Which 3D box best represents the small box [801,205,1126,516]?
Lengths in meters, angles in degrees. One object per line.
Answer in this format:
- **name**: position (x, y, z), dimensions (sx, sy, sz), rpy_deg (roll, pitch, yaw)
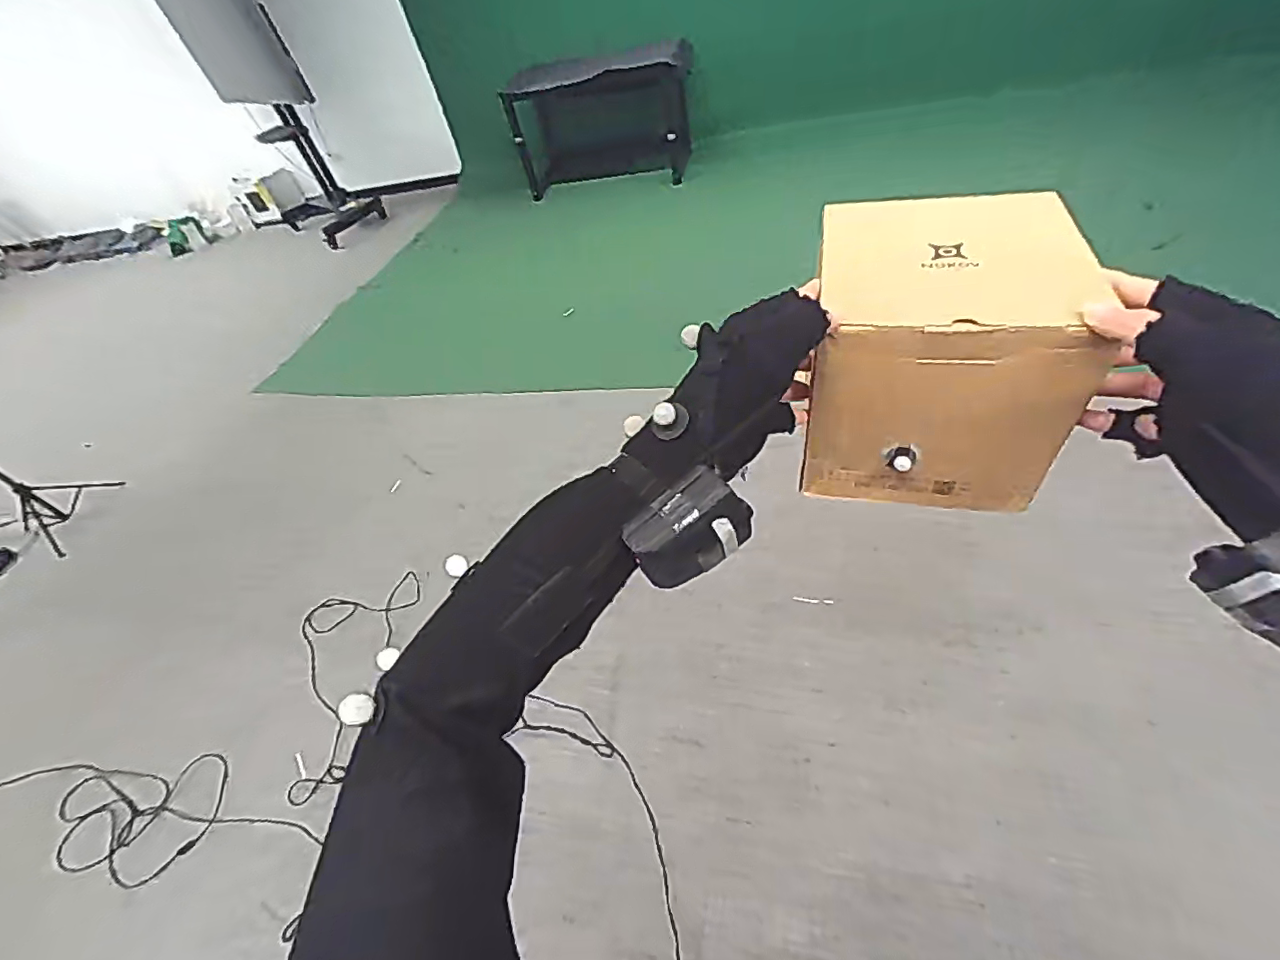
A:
- **small box**: position (0.222, -0.097, 0.432), dimensions (0.168, 0.176, 0.179), rpy_deg (5, 50, 15)
